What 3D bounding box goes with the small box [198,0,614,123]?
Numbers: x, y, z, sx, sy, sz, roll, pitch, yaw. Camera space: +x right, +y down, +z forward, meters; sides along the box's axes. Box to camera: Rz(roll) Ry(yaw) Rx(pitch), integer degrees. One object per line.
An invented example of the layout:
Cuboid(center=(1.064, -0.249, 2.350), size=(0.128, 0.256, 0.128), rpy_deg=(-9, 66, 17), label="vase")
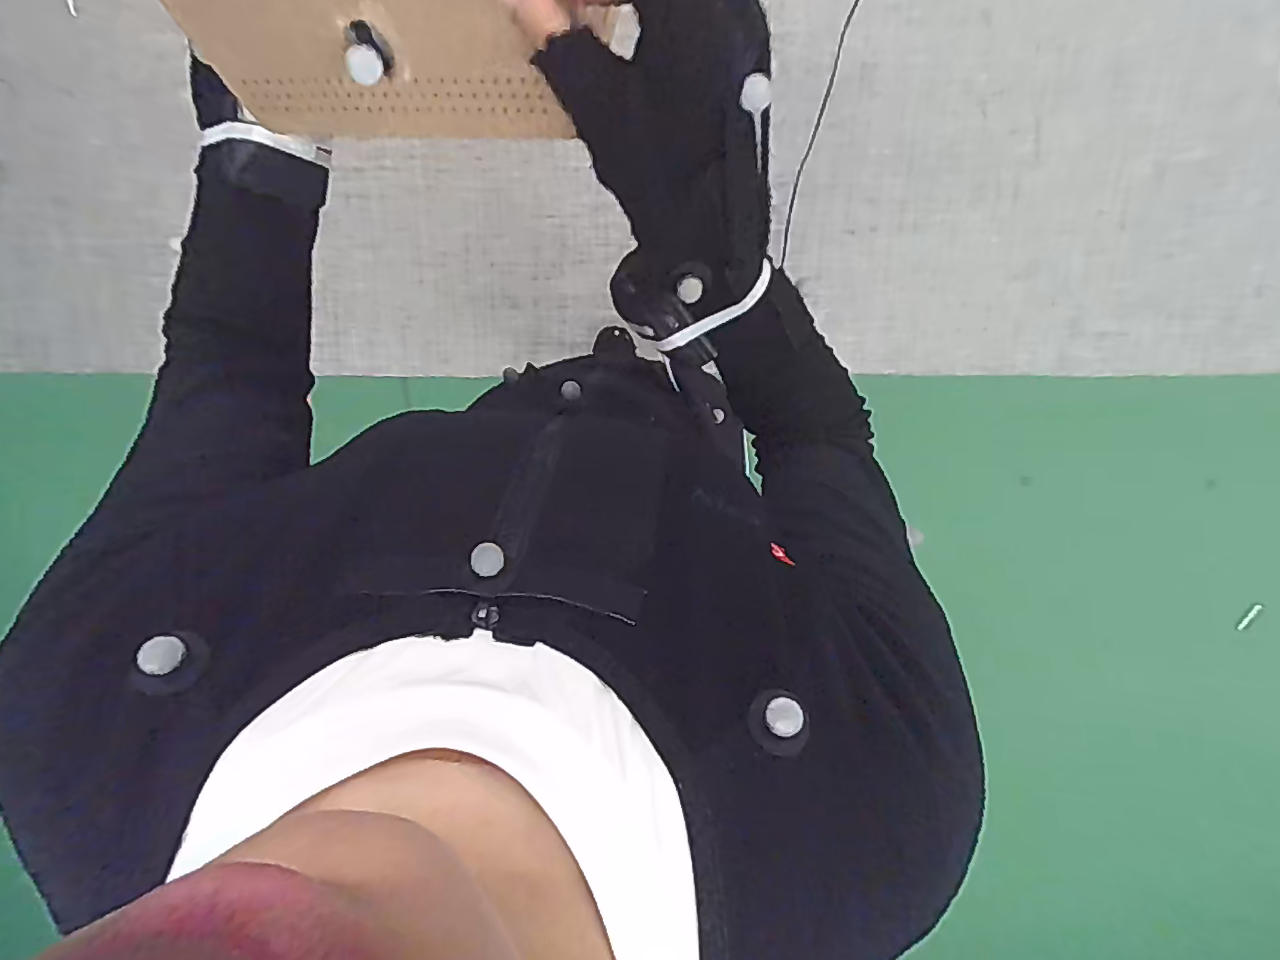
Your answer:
Cuboid(center=(-0.102, -0.285, 0.229), size=(0.179, 0.176, 0.168), rpy_deg=(7, 68, 8), label="small box")
